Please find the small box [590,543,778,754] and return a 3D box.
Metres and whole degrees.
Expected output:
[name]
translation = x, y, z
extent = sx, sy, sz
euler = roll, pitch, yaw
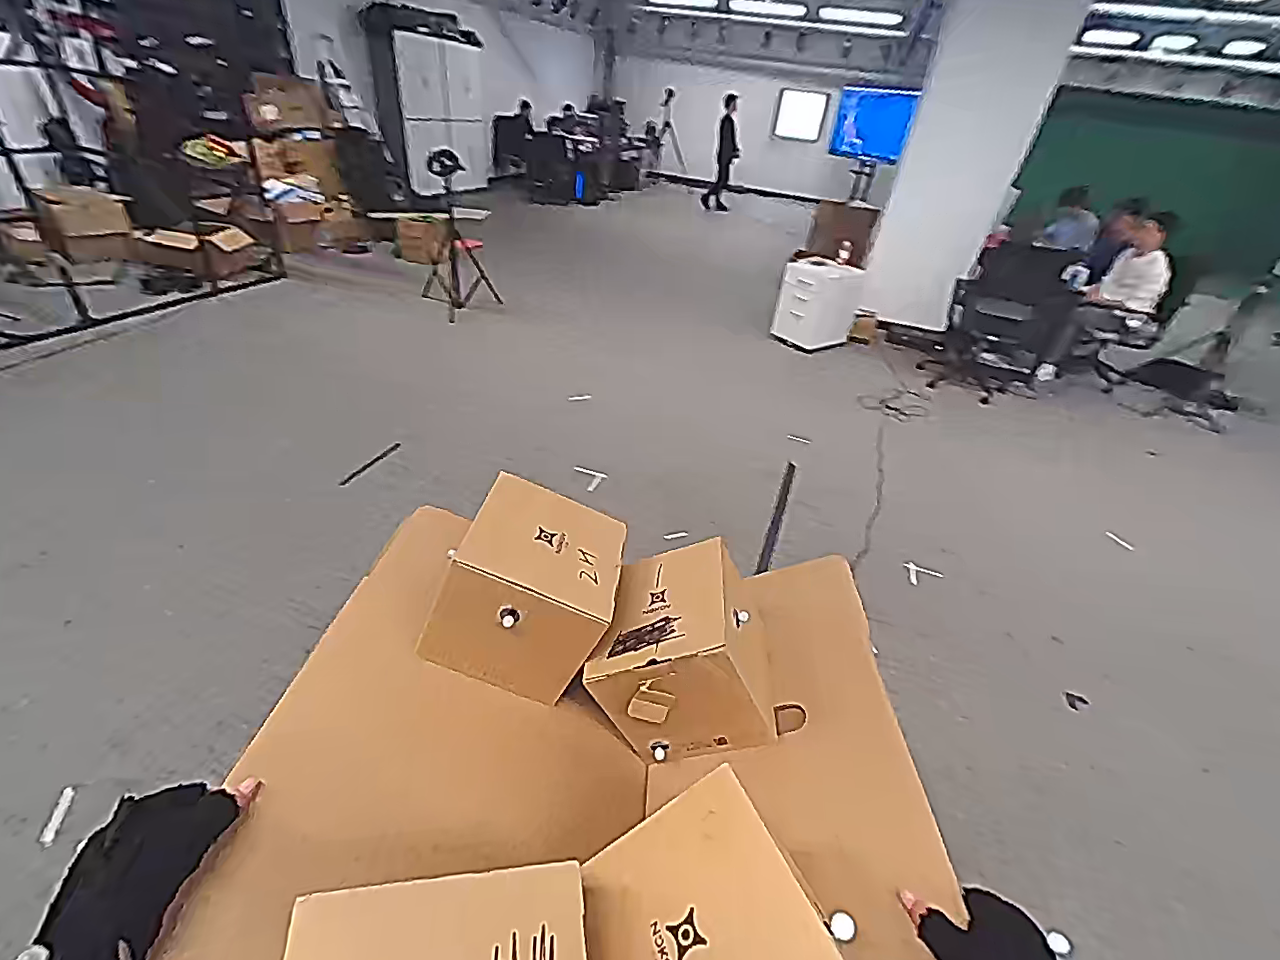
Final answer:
[small box]
translation = 0.061, 0.212, 0.664
extent = 0.168, 0.176, 0.179
euler = -18, 28, 18
